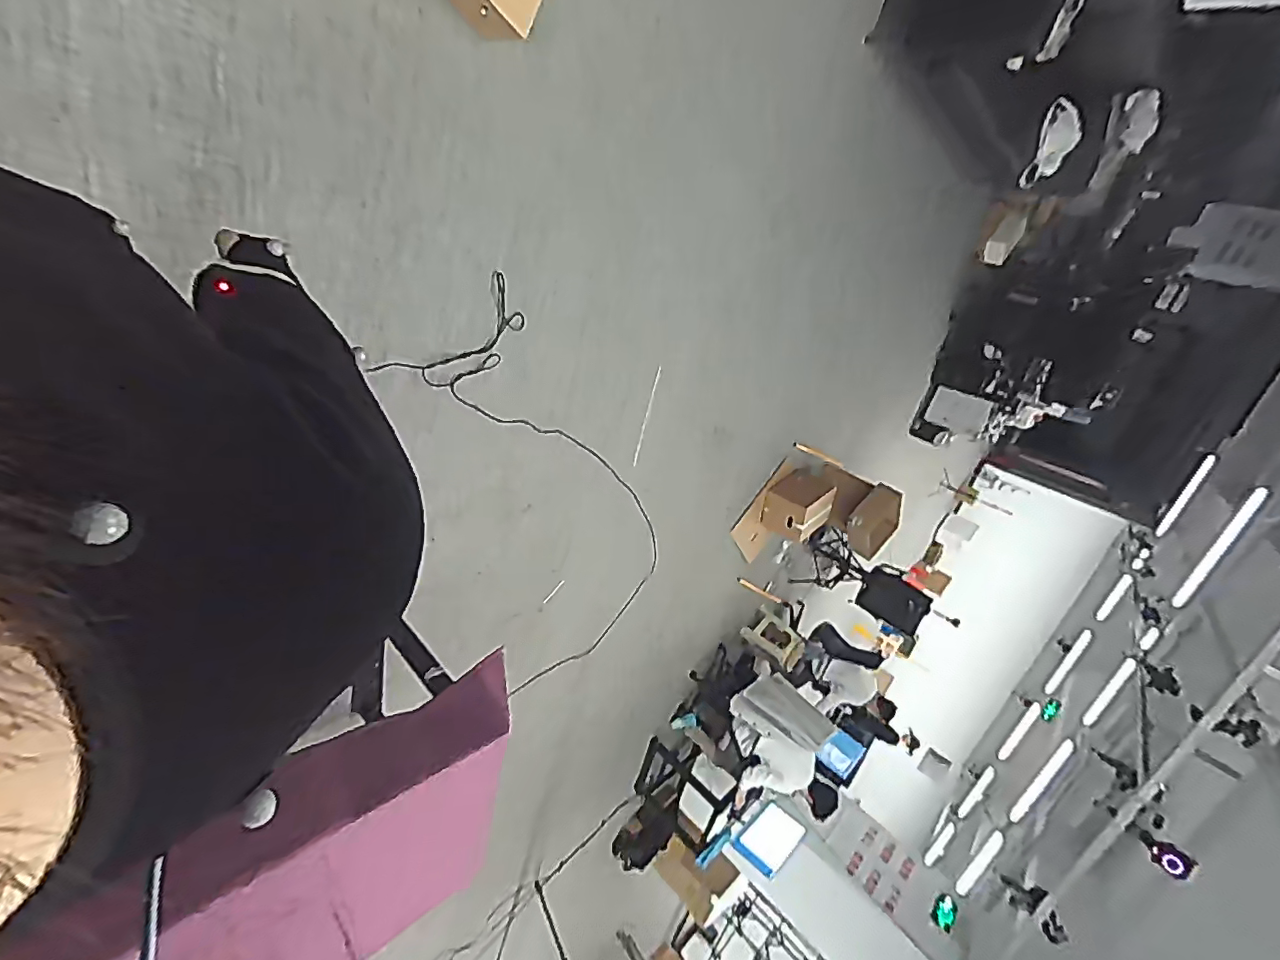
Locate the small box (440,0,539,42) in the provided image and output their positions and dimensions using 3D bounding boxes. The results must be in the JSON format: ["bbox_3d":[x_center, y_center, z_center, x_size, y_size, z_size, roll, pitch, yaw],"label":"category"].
[{"bbox_3d":[-0.342,-1.118,1.203,0.179,0.176,0.168,15,104,-55],"label":"small box"}]
